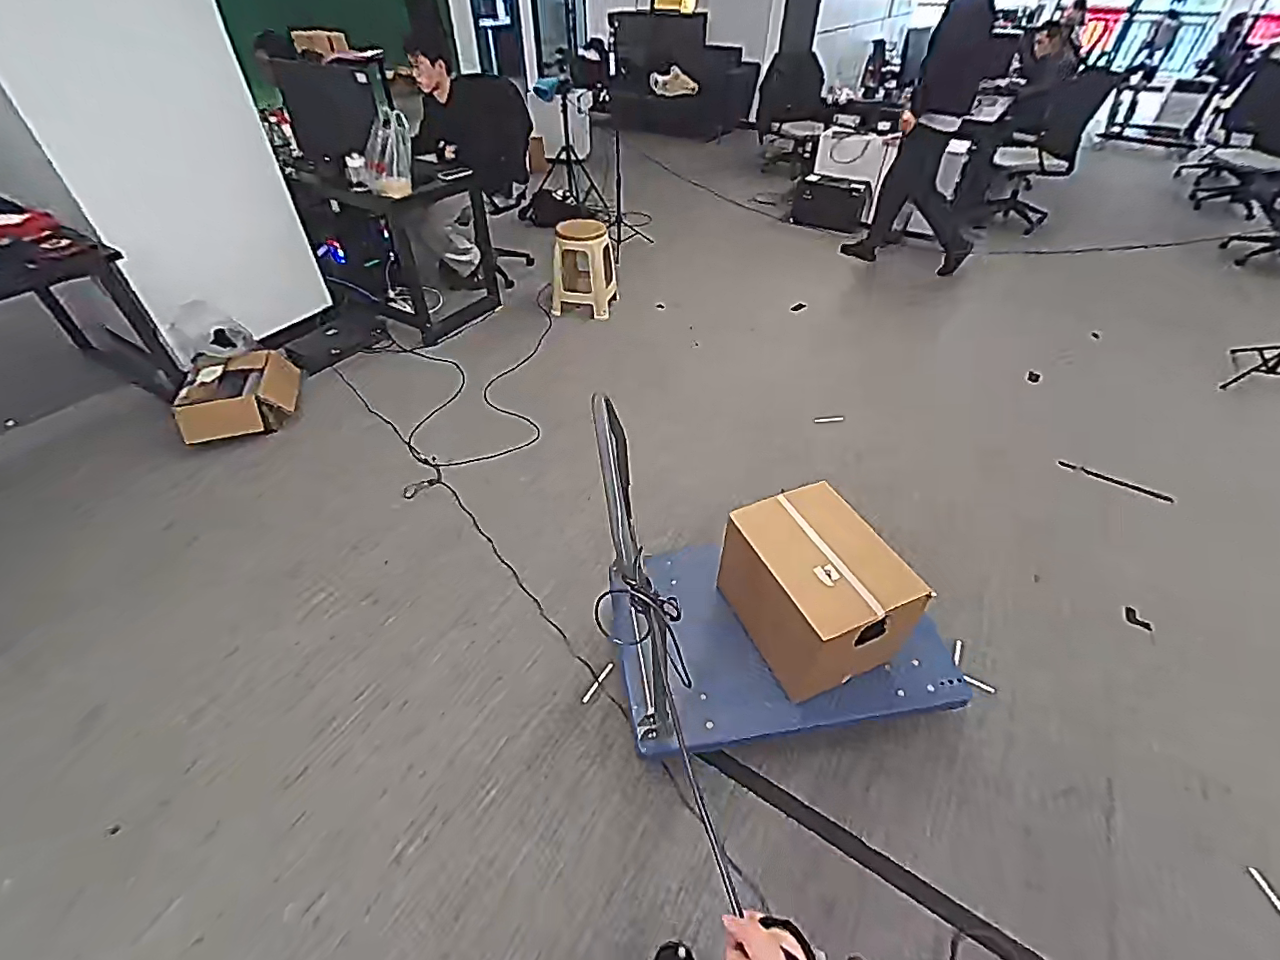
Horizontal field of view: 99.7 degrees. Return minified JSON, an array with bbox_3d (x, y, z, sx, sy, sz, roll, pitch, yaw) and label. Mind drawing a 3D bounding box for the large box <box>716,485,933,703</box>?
[{"bbox_3d":[0.442,0.284,1.407,0.320,0.320,0.408,-17,48,-17],"label":"large box"}]
